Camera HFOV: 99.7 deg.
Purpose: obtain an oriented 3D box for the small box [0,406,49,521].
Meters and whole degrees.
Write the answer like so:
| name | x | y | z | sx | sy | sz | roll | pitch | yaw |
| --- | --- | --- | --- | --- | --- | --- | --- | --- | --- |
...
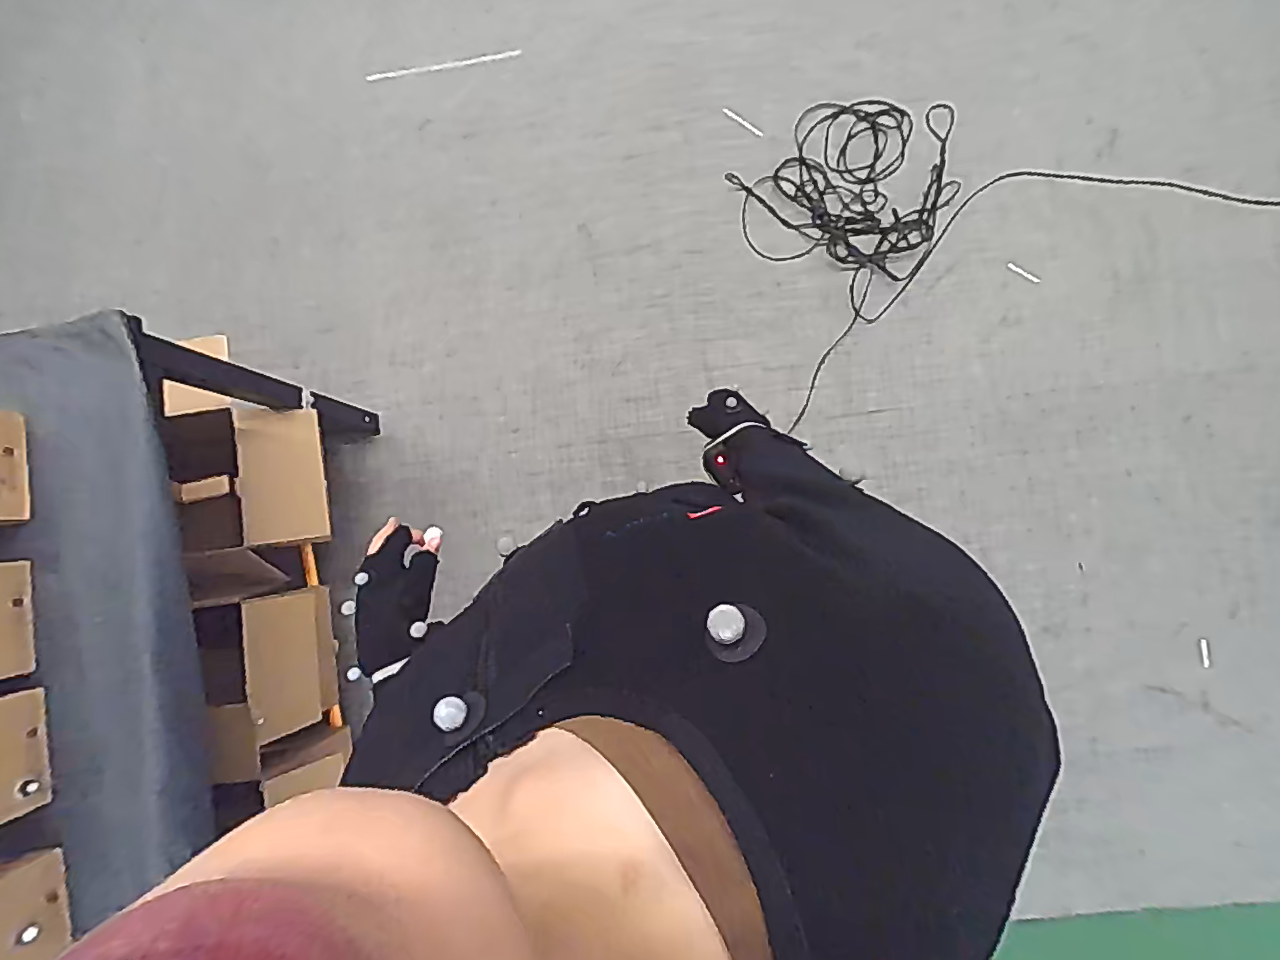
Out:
| name | x | y | z | sx | sy | sz | roll | pitch | yaw |
| --- | --- | --- | --- | --- | --- | --- | --- | --- | --- |
| small box | -1.009 | -0.019 | 0.762 | 0.179 | 0.176 | 0.168 | -9 | 87 | 3 |
